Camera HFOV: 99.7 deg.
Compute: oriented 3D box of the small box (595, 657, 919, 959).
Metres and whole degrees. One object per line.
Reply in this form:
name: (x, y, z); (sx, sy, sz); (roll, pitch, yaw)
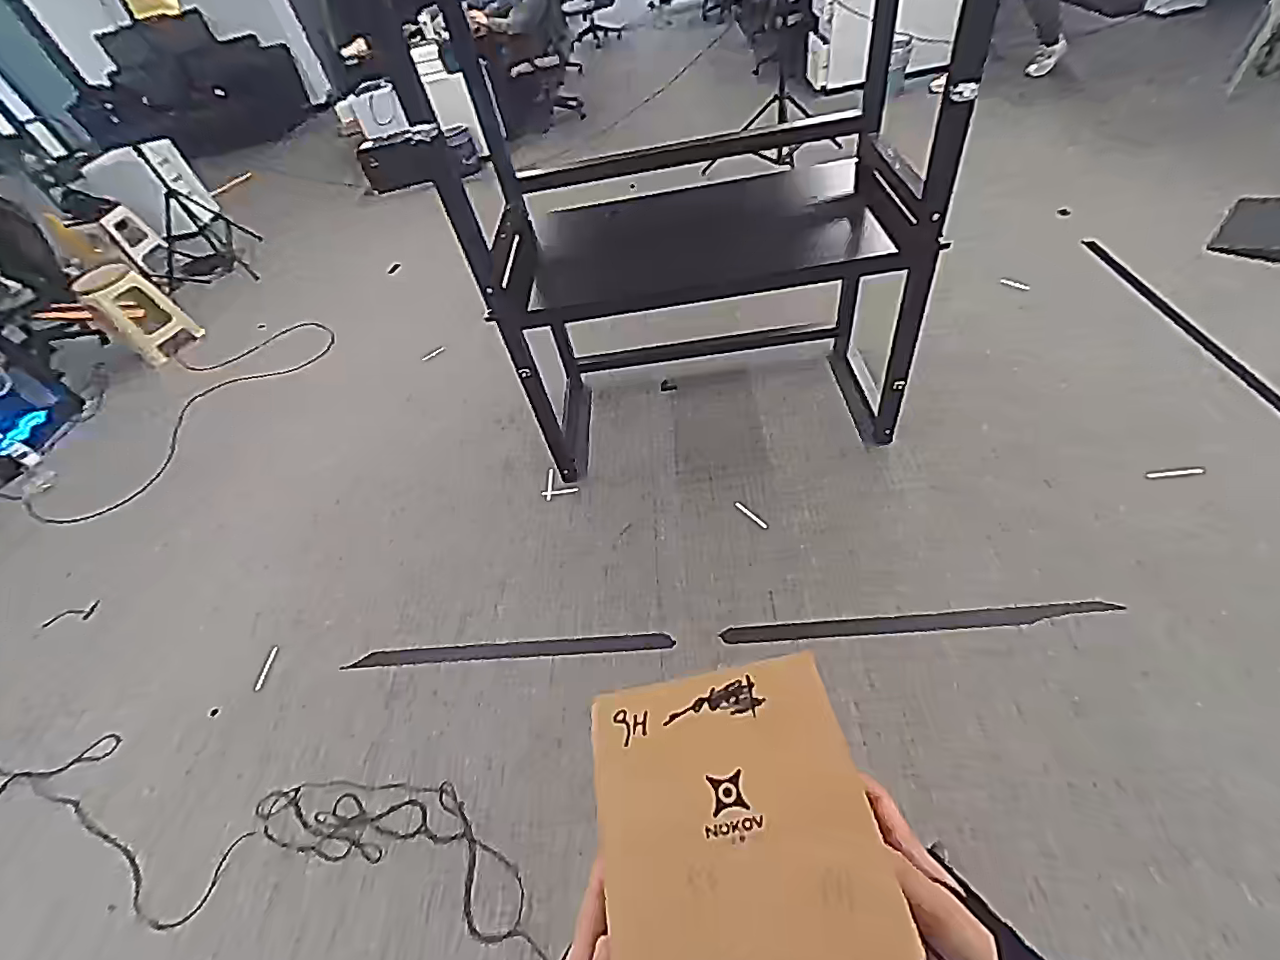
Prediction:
small box: (0.070, 0.259, 0.397); (0.168, 0.176, 0.179); (-12, 48, 1)
